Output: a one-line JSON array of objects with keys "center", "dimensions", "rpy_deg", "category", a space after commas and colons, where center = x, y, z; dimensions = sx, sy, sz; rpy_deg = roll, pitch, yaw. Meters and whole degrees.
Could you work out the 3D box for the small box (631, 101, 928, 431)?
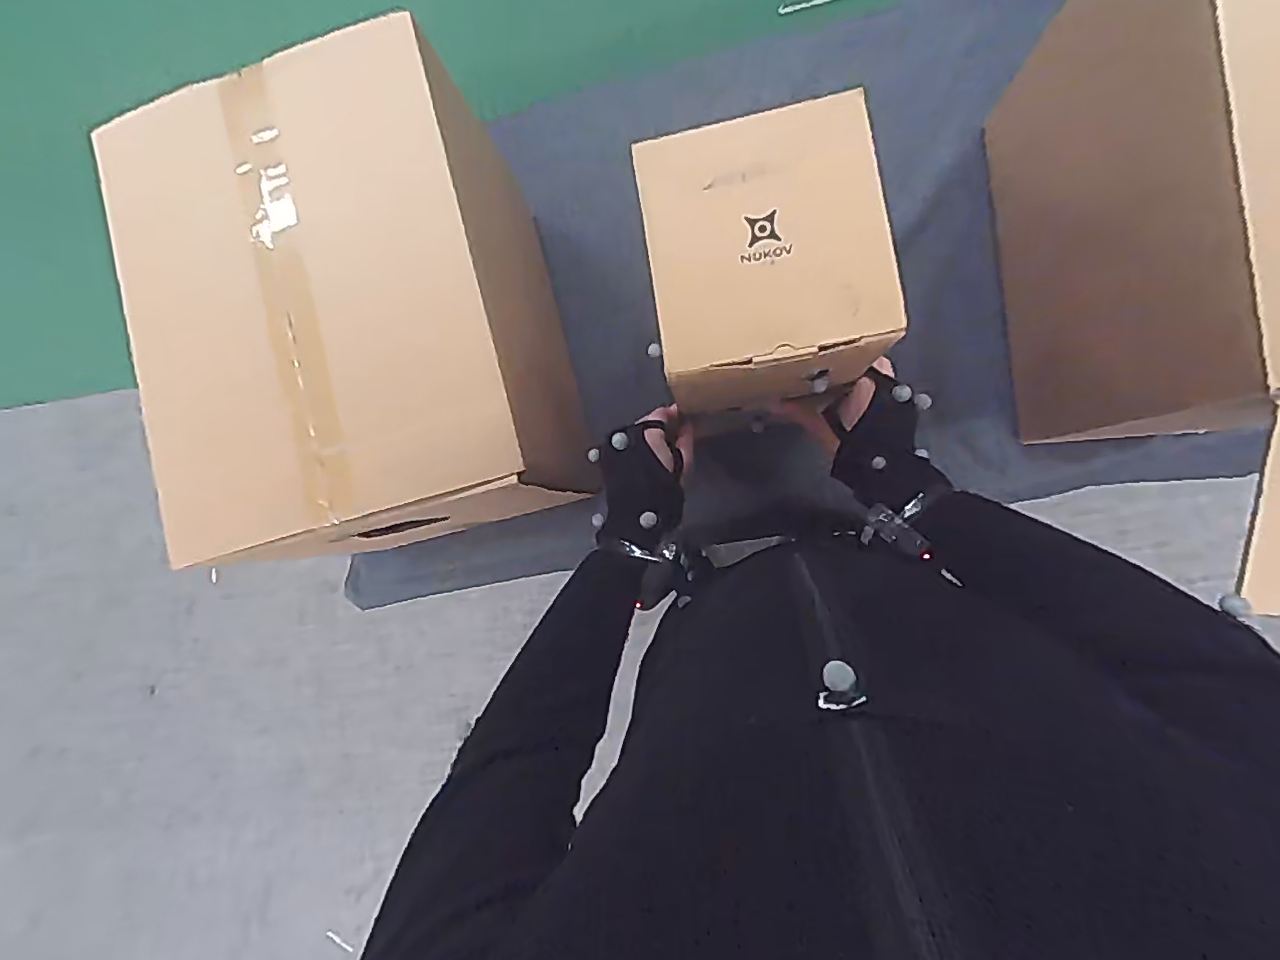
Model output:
[{"center": [0.097, -0.140, 0.428], "dimensions": [0.168, 0.176, 0.179], "rpy_deg": [-10, 85, 7], "category": "small box"}]
